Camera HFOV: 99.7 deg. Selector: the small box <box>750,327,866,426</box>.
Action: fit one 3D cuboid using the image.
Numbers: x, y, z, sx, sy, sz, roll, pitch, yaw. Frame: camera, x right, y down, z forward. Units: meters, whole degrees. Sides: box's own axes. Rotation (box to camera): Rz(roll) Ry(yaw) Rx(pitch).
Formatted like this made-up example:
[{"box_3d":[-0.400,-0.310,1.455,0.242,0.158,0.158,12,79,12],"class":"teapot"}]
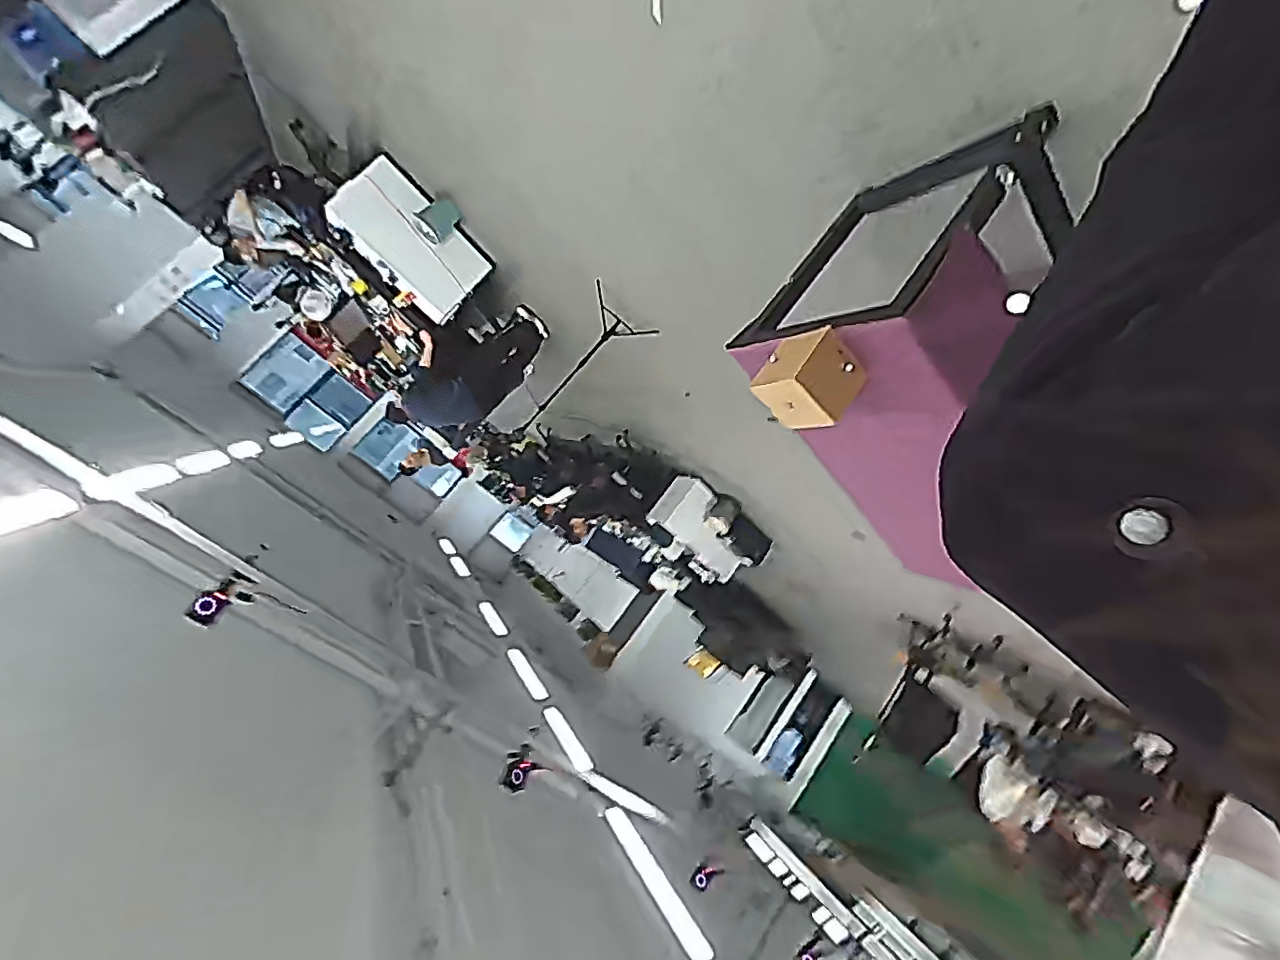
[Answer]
[{"box_3d":[0.415,-0.252,1.335,0.168,0.176,0.179,40,168,-20],"class":"small box"}]
